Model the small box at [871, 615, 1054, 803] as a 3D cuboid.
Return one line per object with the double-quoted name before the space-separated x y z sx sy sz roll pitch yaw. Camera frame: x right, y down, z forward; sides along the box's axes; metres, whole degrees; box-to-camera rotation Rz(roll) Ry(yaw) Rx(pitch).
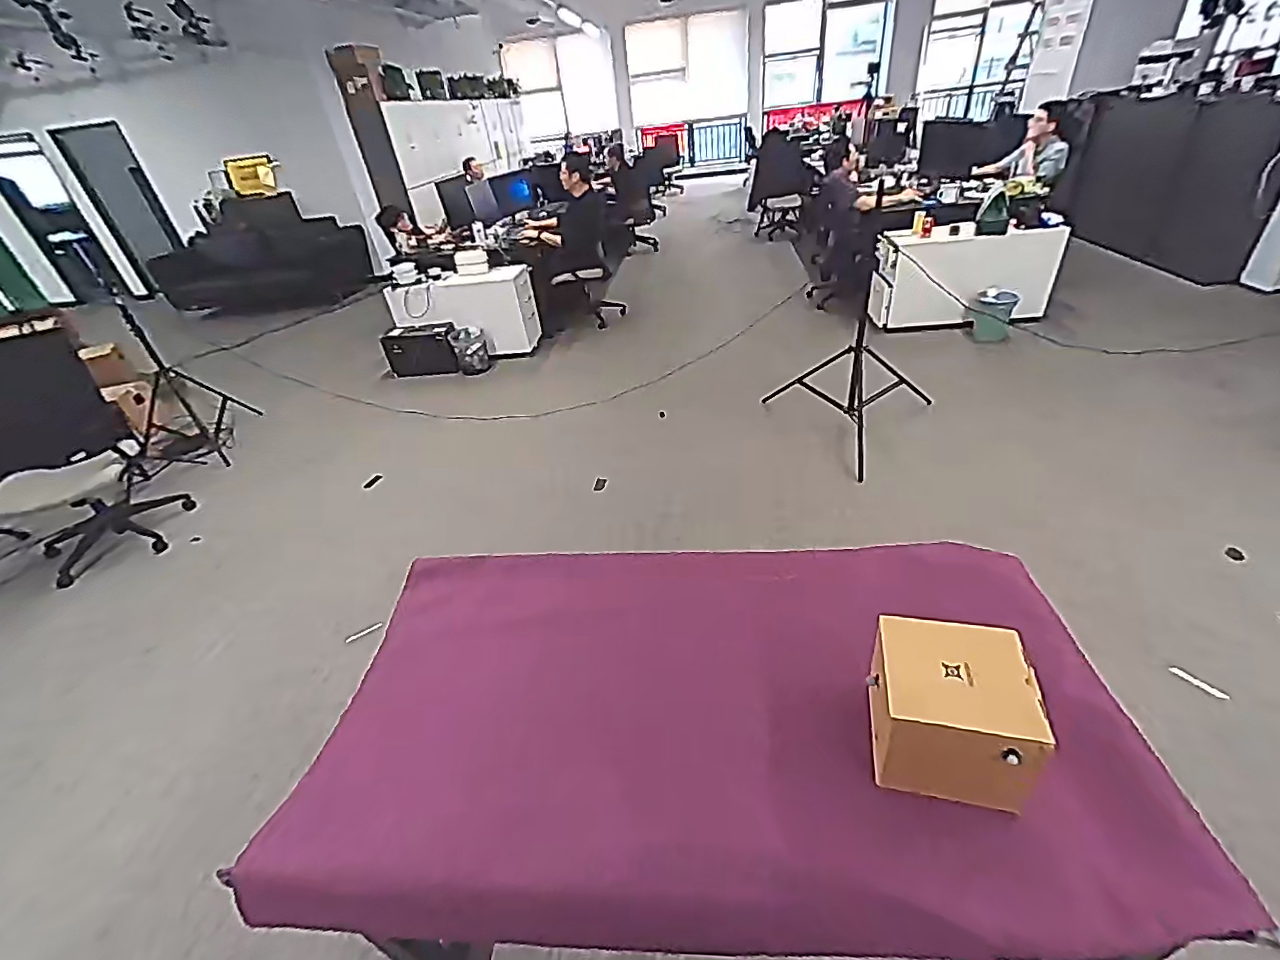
"small box" 0.419 0.310 0.742 0.179 0.176 0.168 3 36 16
